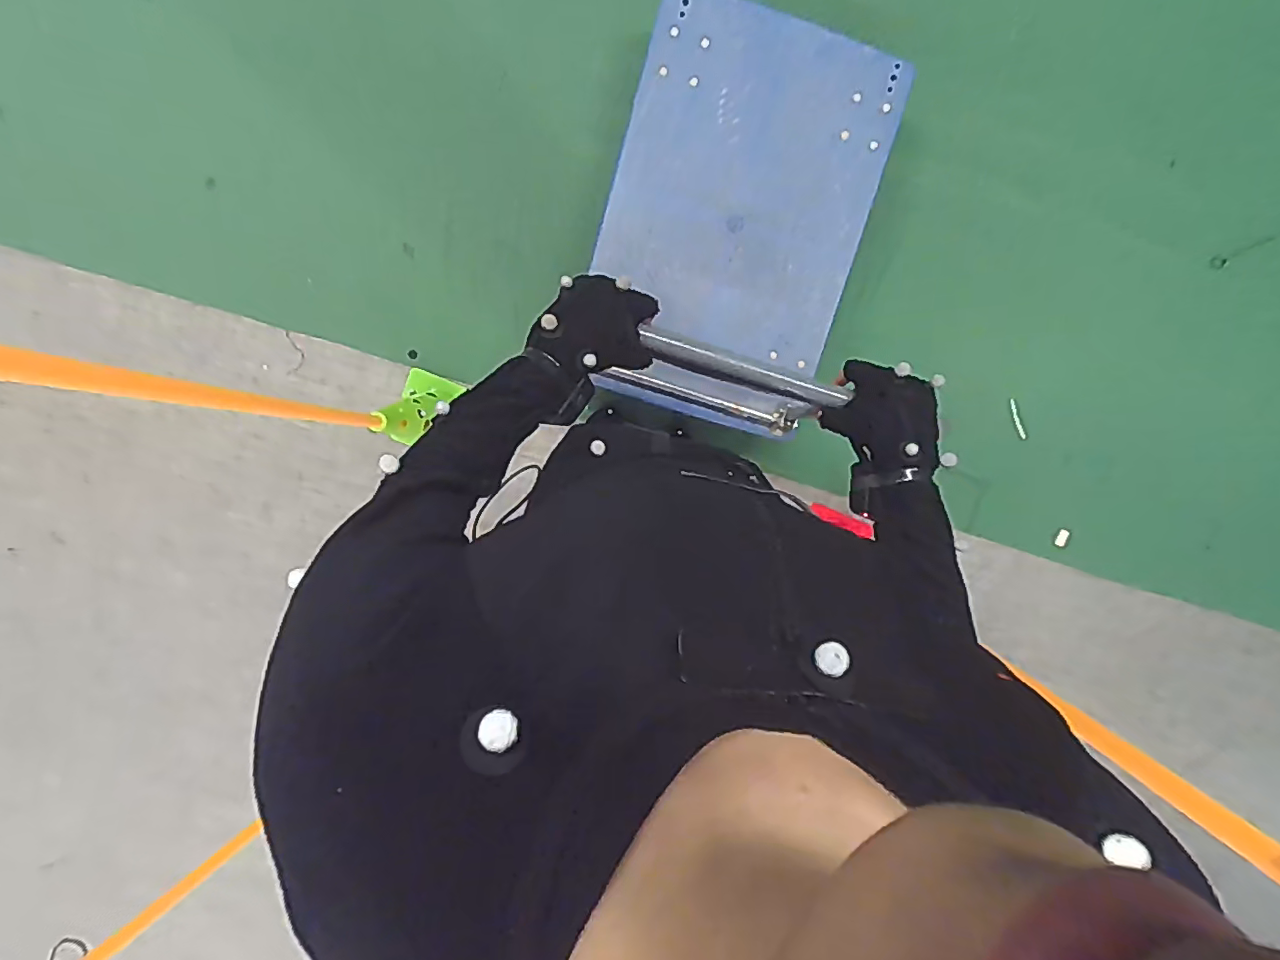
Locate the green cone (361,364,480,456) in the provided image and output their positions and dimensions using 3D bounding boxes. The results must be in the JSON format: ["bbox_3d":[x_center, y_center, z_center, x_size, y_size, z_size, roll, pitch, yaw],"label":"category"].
[{"bbox_3d":[-0.538,-0.161,1.259,0.202,0.368,0.200,22,97,-4],"label":"green cone"}]

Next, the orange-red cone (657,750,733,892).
[{"bbox_3d":[0.167,0.937,1.450,0.199,0.360,0.198,17,97,-3],"label":"orange-red cone"}]
